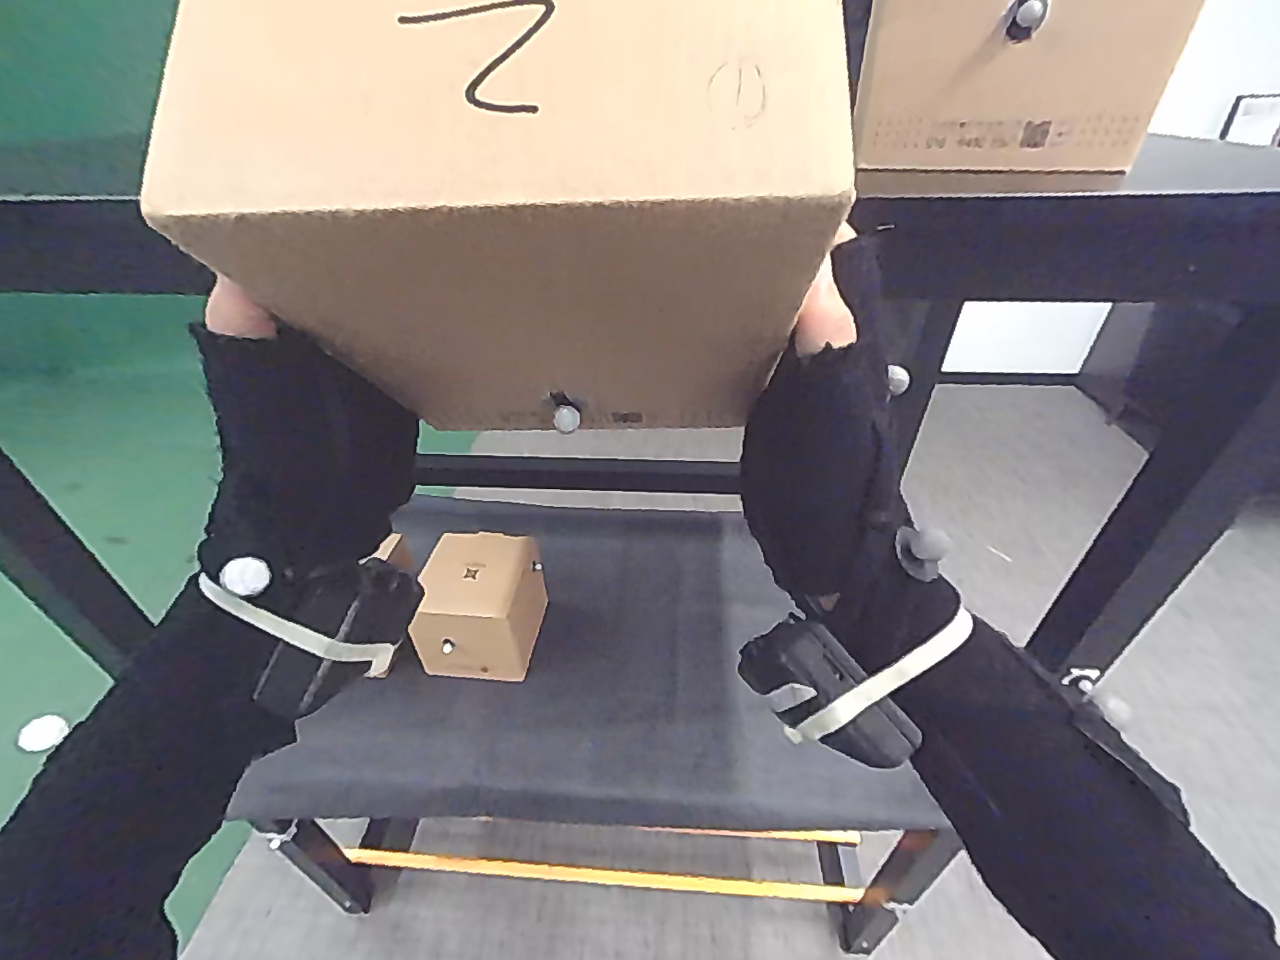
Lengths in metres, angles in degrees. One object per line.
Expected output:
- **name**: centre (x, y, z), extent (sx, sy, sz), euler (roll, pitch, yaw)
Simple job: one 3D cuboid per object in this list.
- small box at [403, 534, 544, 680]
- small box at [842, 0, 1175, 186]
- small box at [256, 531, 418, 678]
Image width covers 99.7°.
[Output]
- **small box**: centre (-0.266, 0.214, 0.915), extent (0.168, 0.176, 0.179), euler (3, 36, 4)
- **small box**: centre (0.249, -0.318, 0.390), extent (0.168, 0.176, 0.179), euler (9, 37, 13)
- **small box**: centre (-0.493, 0.209, 0.922), extent (0.168, 0.176, 0.179), euler (2, 37, 3)
